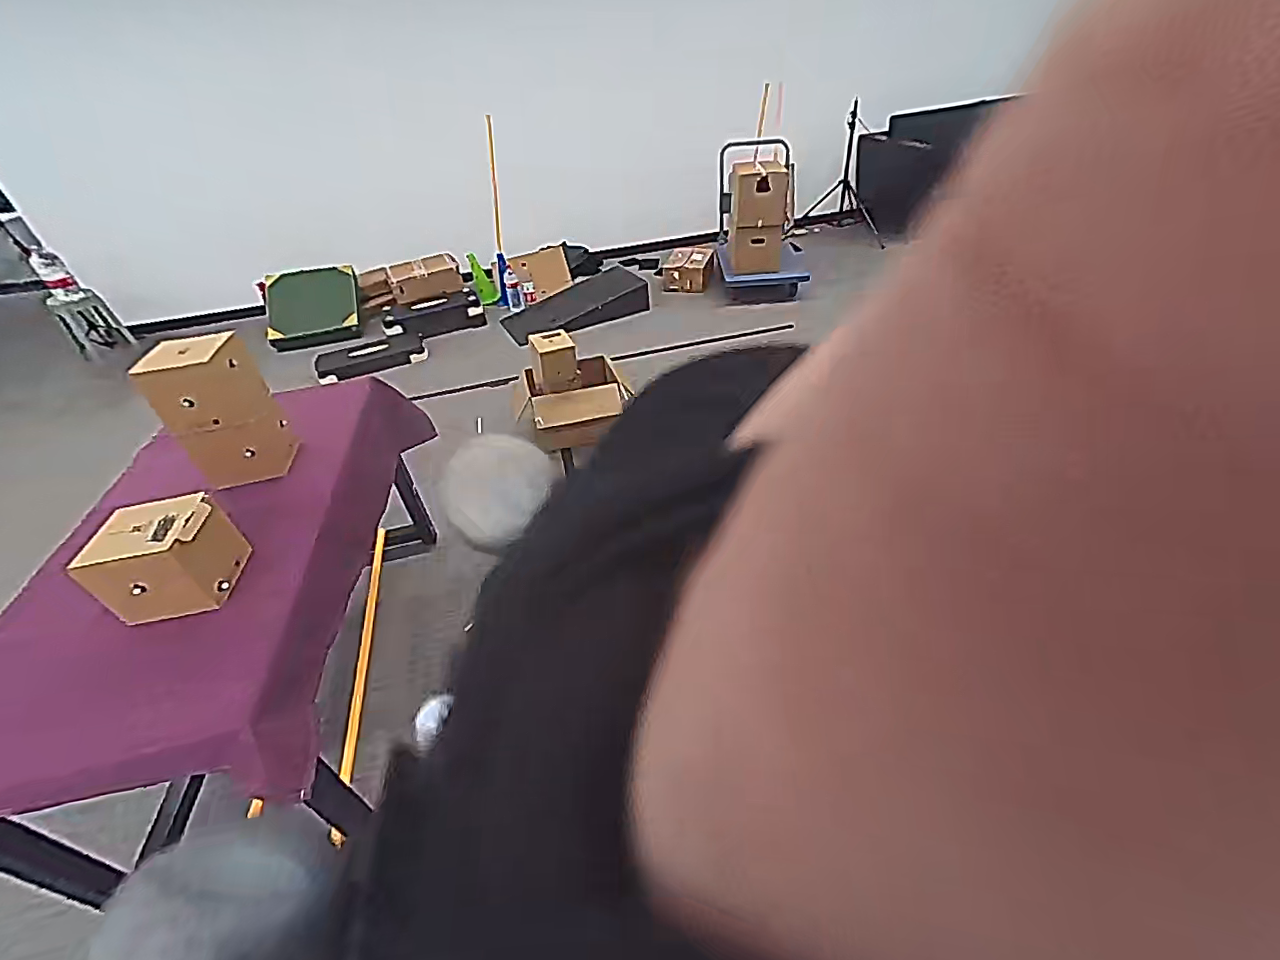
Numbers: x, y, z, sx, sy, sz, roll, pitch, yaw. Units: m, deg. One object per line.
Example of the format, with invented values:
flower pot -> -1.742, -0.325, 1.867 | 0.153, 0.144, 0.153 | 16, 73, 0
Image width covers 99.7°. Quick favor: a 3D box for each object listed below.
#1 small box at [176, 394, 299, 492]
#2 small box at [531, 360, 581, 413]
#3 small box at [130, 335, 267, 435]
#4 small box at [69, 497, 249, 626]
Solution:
small box -> -1.017, -0.094, 1.389 | 0.179, 0.176, 0.168 | -13, 39, -7
small box -> -0.397, -0.445, 2.589 | 0.179, 0.176, 0.168 | -25, 47, -26
small box -> -1.033, -0.221, 1.286 | 0.168, 0.176, 0.179 | -11, 39, -7
small box -> -0.923, 0.162, 1.065 | 0.179, 0.176, 0.168 | -11, 39, -5
